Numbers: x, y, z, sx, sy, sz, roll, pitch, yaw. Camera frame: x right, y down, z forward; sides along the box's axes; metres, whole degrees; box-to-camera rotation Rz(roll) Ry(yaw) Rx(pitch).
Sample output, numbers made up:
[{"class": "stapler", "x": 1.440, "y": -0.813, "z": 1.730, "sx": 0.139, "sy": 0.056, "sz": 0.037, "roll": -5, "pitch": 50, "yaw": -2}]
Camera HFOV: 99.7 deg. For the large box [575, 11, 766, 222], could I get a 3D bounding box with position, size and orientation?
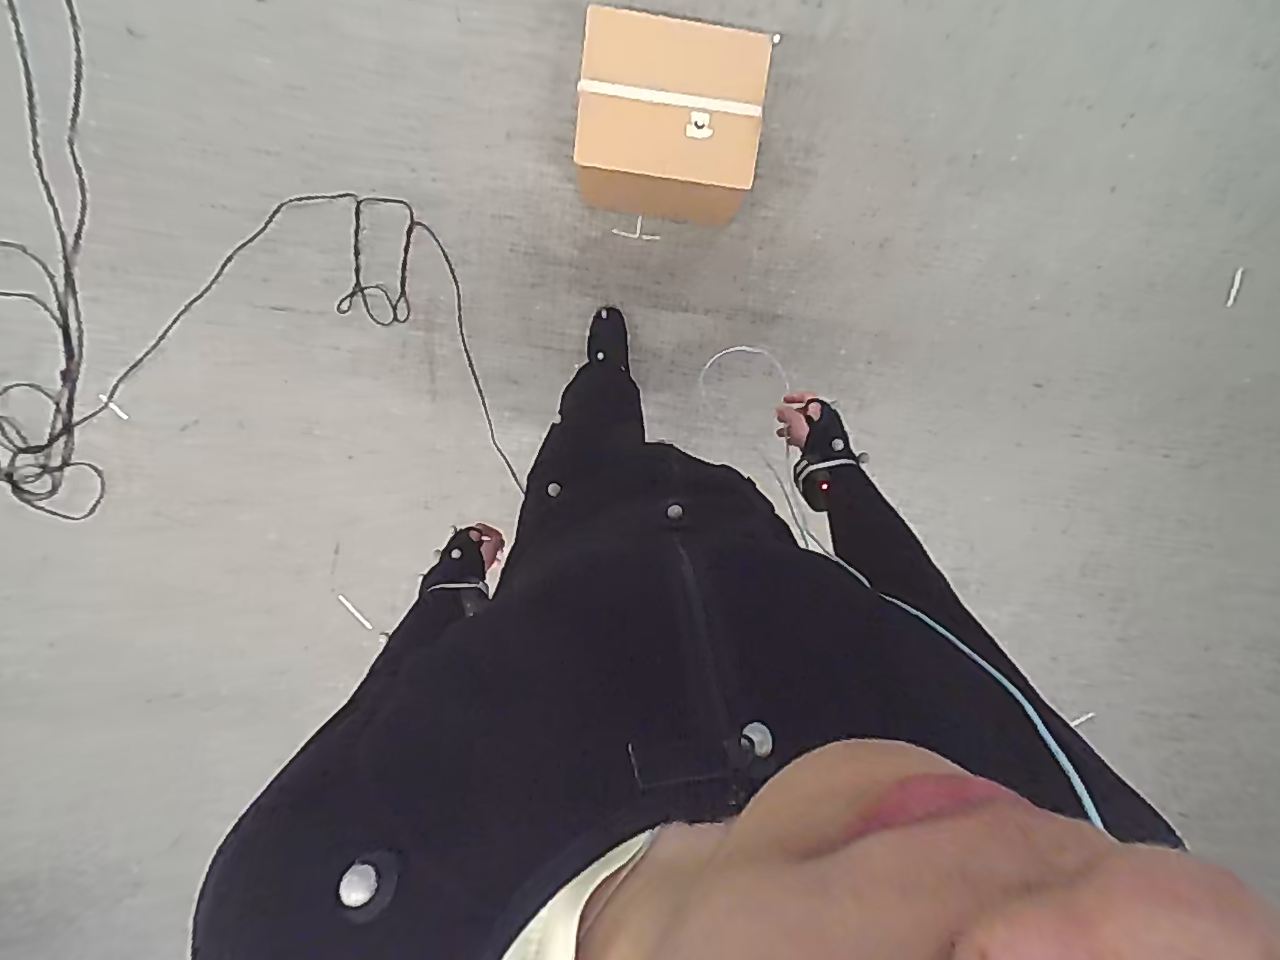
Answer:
[{"class": "large box", "x": 0.056, "y": -0.859, "z": 1.331, "sx": 0.408, "sy": 0.320, "sz": 0.320, "roll": 5, "pitch": 100, "yaw": -3}]
